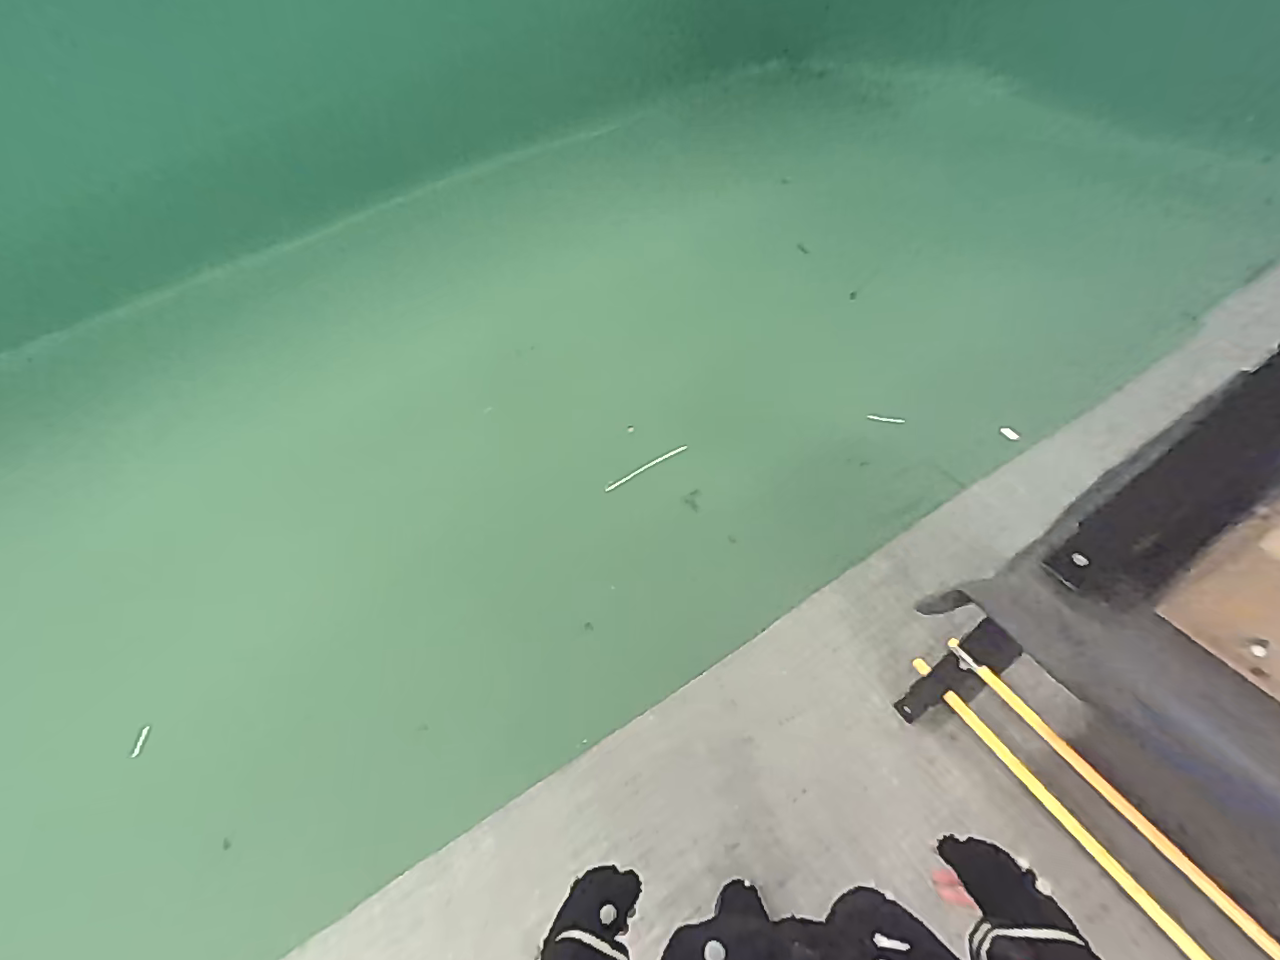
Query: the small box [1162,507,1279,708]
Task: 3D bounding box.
[{"bbox_3d":[0.756,0.129,0.601,0.179,0.176,0.168,-31,56,-15],"label":"small box"}]
